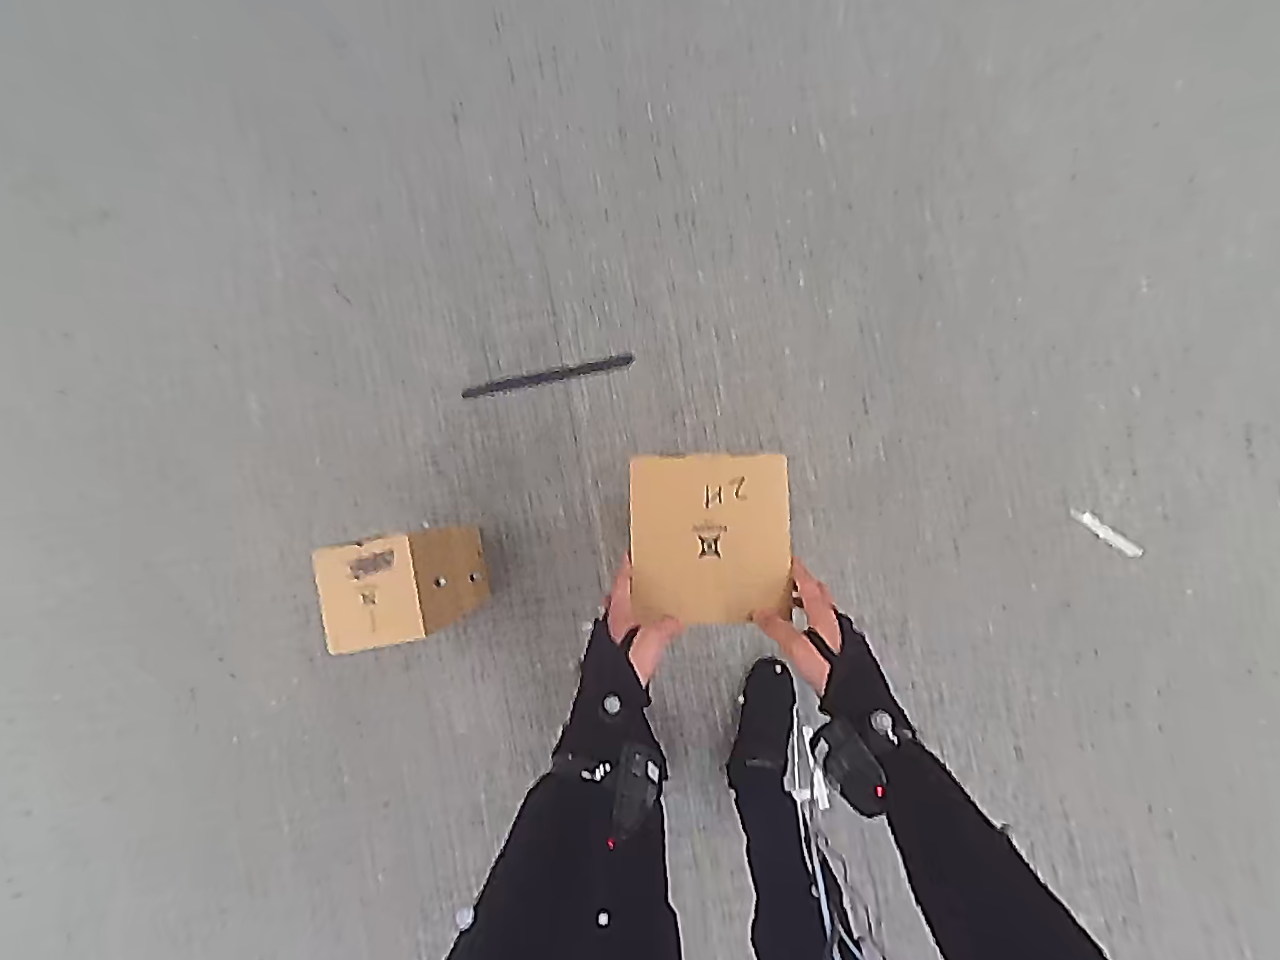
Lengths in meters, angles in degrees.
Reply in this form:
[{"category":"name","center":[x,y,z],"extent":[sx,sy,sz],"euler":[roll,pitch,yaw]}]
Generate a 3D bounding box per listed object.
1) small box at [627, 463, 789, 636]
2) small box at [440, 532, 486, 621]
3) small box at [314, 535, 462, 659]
[{"category":"small box","center":[0.069,0.075,0.627],"extent":[0.168,0.176,0.179],"euler":[-1,85,-1]},{"category":"small box","center":[-0.432,0.205,1.119],"extent":[0.179,0.176,0.168],"euler":[-11,88,3]},{"category":"small box","center":[-0.434,0.195,0.955],"extent":[0.168,0.176,0.179],"euler":[-11,88,3]}]
